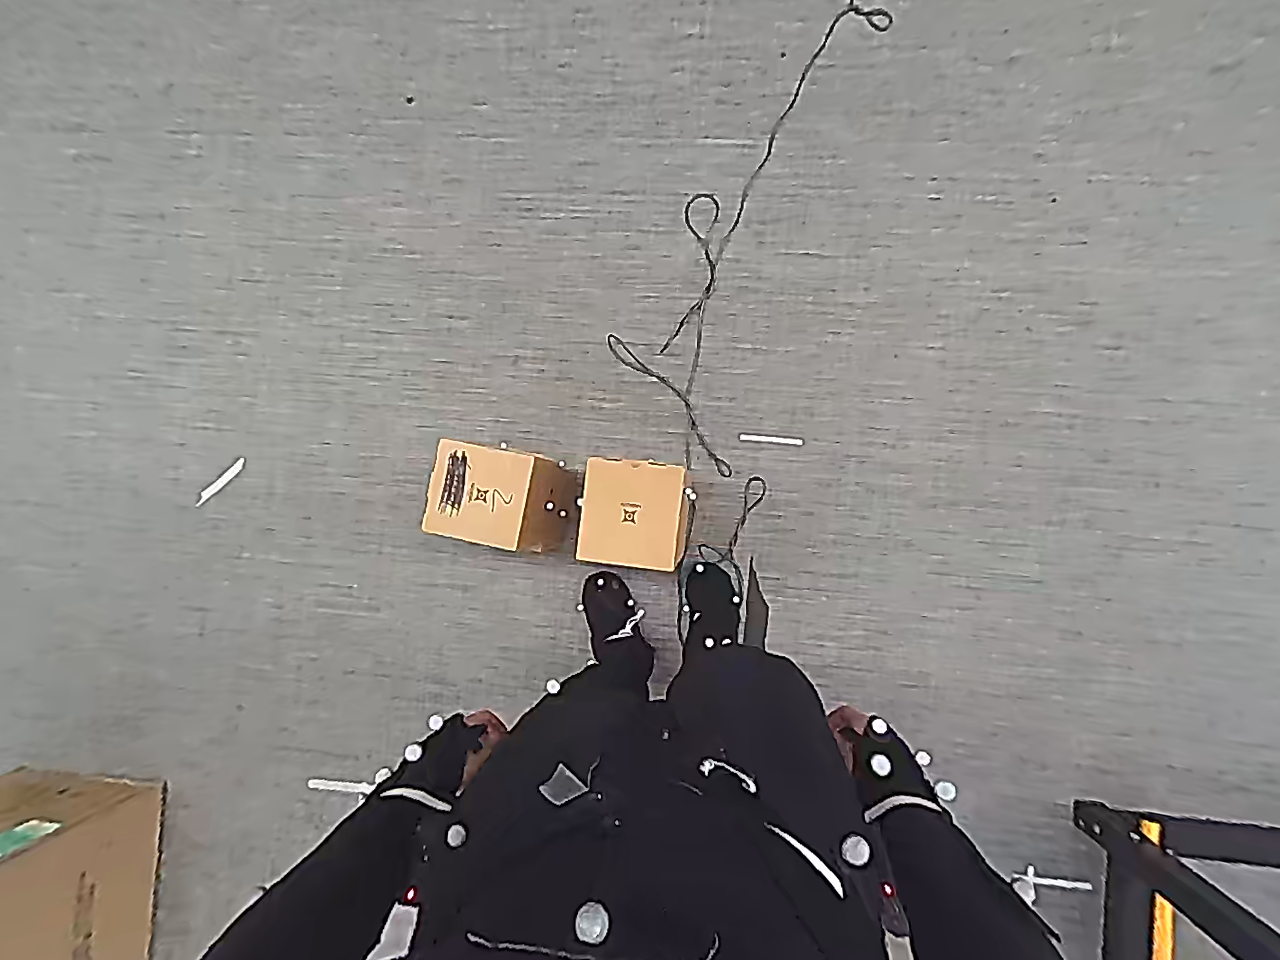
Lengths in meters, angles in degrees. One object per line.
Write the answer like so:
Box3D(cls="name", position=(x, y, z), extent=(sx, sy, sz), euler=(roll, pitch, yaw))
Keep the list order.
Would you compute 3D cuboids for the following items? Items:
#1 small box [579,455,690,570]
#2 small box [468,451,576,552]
Box3D(cls="small box", position=(-0.001, 0.056, 0.969), extent=(0.168, 0.176, 0.179), euler=(6, 87, 7))
Box3D(cls="small box", position=(-0.243, 0.044, 1.159), extent=(0.168, 0.176, 0.179), euler=(12, 90, 7))
